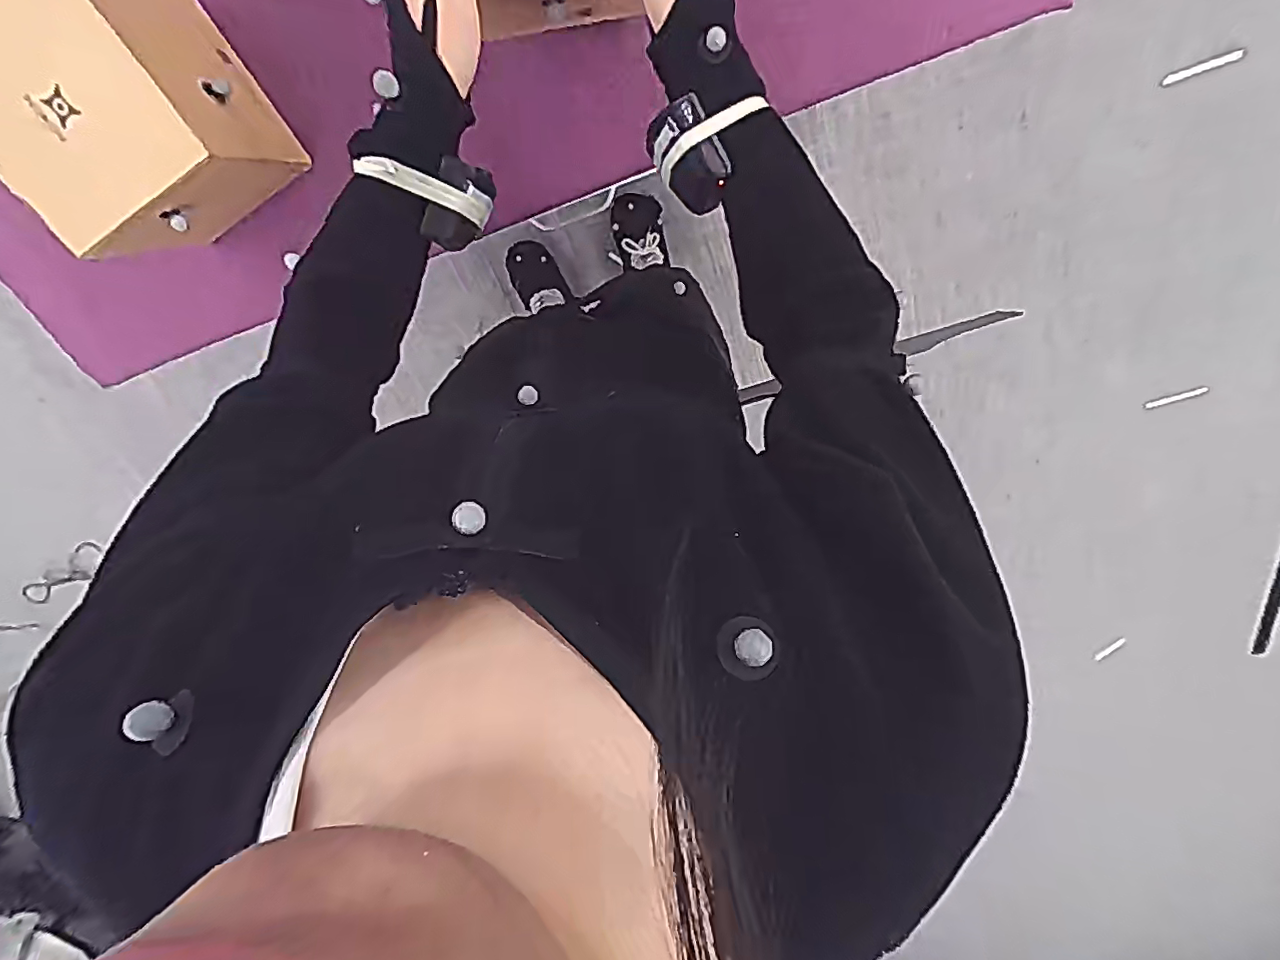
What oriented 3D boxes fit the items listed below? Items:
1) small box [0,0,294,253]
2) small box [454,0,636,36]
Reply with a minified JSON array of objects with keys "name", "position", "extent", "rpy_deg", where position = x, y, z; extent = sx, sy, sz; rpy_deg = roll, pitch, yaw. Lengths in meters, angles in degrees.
[{"name":"small box","position":[-0.471,-0.342,0.507],"extent":[0.179,0.176,0.168],"rpy_deg":[-25,116,14]},{"name":"small box","position":[-0.084,-0.474,0.393],"extent":[0.168,0.176,0.179],"rpy_deg":[-11,108,-4]}]
